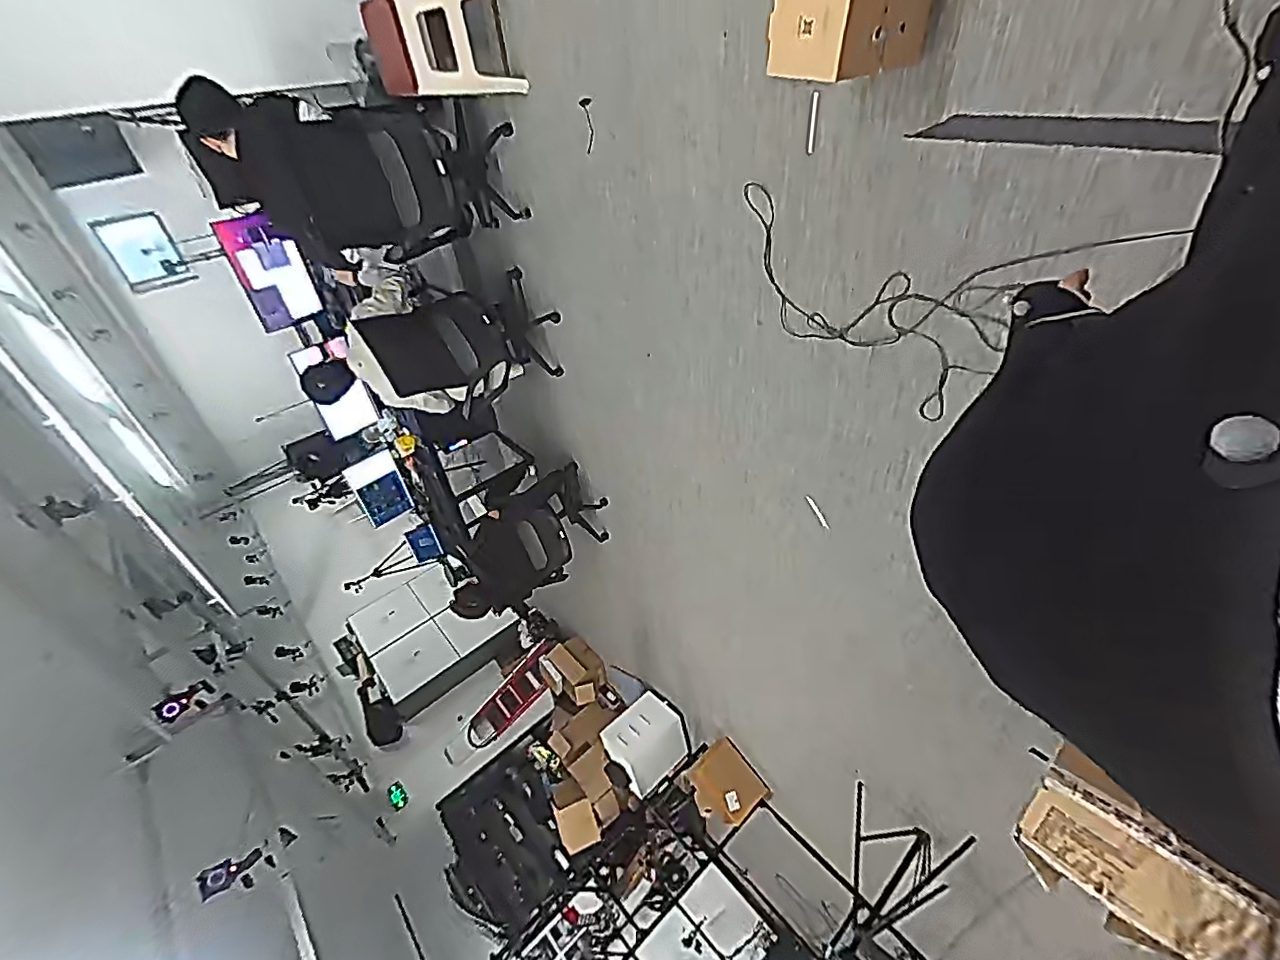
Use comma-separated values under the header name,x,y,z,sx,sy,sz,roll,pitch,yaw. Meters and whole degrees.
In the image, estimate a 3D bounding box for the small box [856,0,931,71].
name,x,y,z,sx,sy,sz,roll,pitch,yaw
small box,0.510,-1.007,1.172,0.168,0.176,0.179,33,144,37

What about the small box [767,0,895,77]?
name,x,y,z,sx,sy,sz,roll,pitch,yaw
small box,0.386,-0.934,1.094,0.179,0.176,0.168,35,145,33
